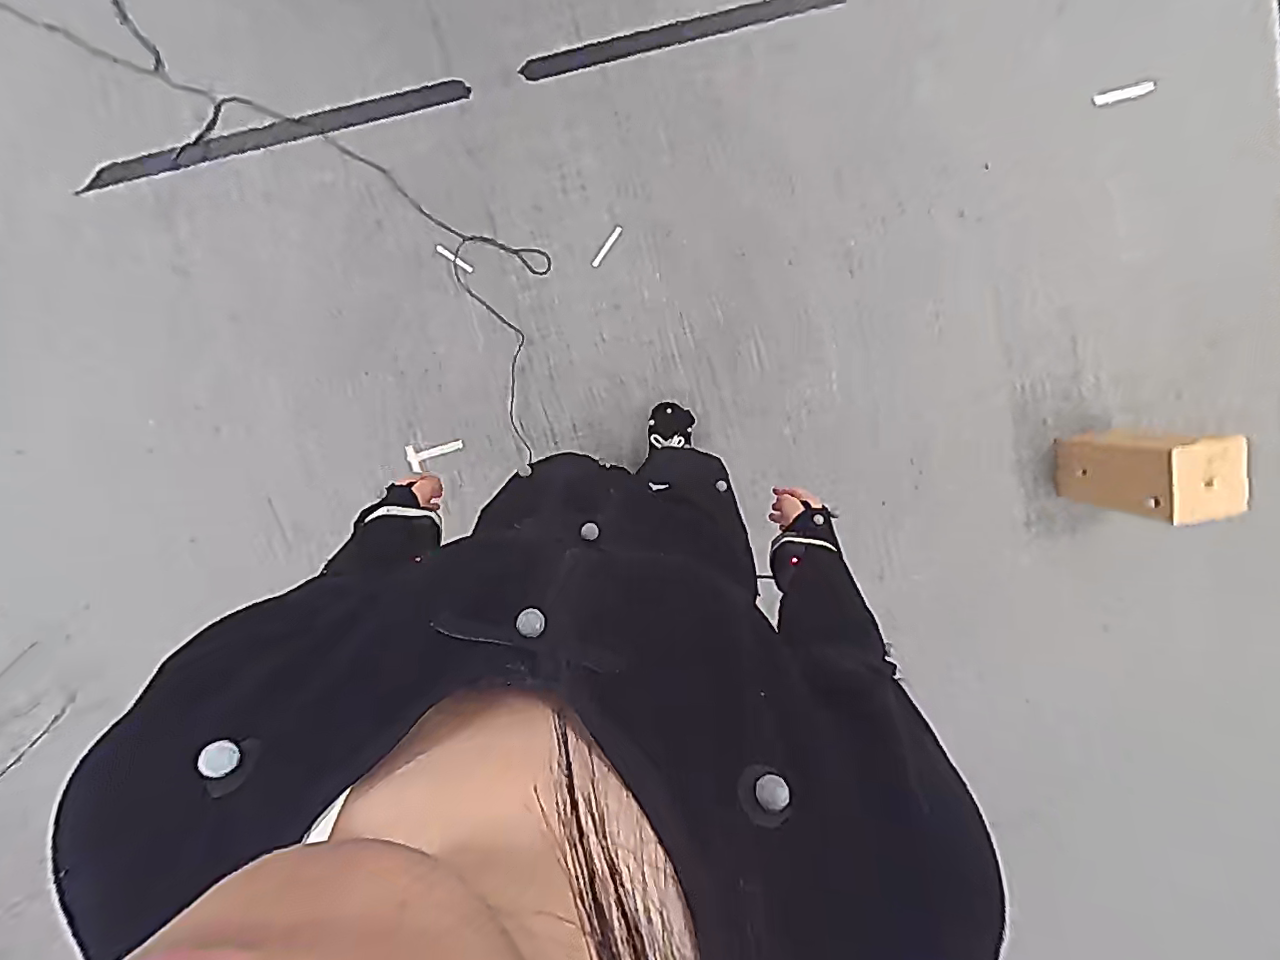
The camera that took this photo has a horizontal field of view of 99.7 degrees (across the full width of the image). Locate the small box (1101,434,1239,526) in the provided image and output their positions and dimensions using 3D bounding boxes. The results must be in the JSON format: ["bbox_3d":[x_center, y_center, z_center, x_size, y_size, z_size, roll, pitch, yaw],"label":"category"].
[{"bbox_3d":[1.234,-0.006,1.270,0.168,0.176,0.179,-10,98,0],"label":"small box"}]
